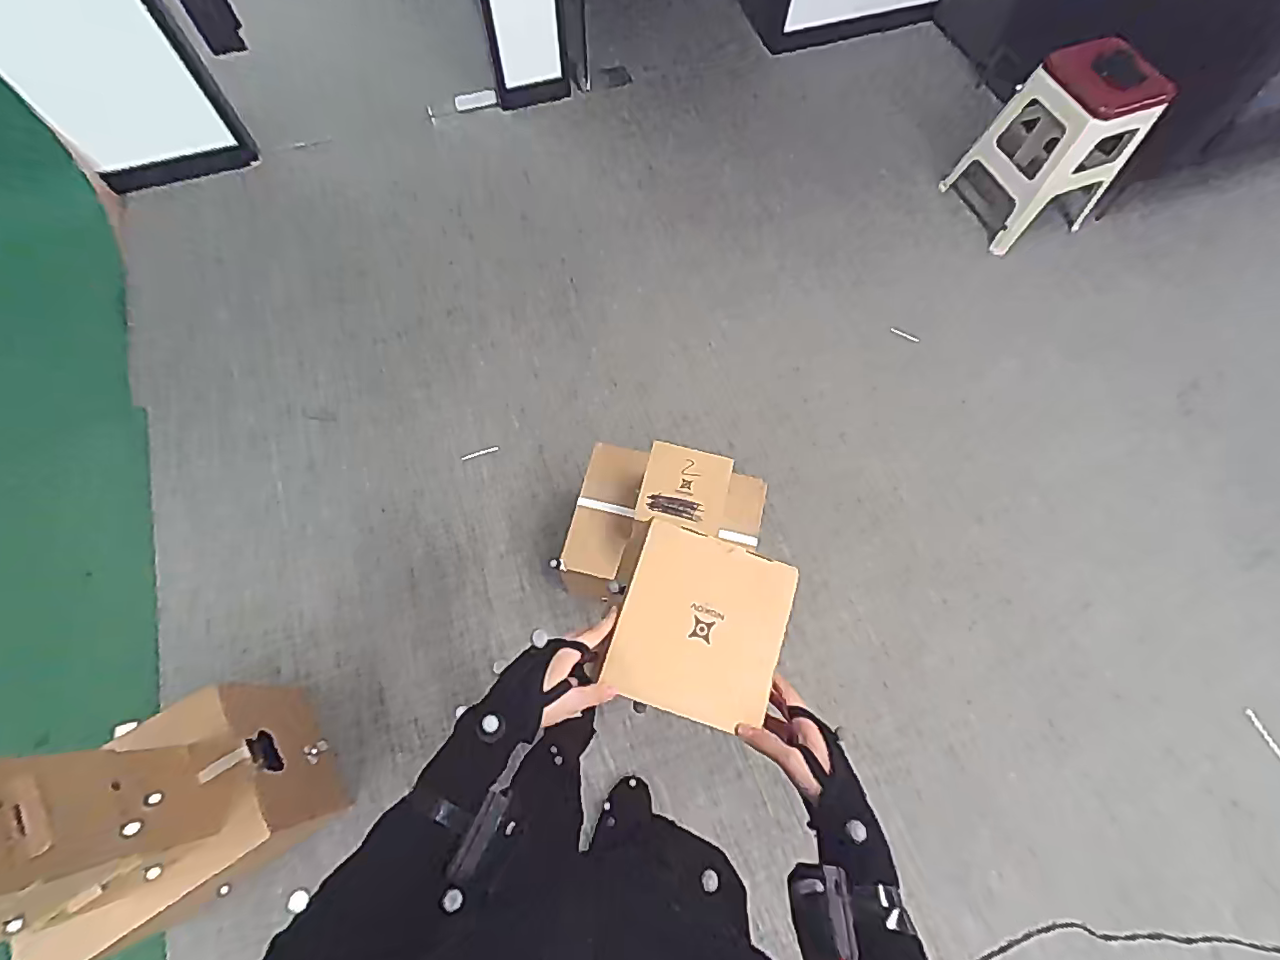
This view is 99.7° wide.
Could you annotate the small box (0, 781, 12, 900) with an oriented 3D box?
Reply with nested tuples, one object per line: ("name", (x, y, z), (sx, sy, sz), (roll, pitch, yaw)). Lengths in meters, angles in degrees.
("small box", (-0.830, 0.426, 0.563), (0.179, 0.176, 0.168), (-31, 71, -16))

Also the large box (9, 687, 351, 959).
("large box", (-0.890, 0.668, 1.080), (0.408, 0.320, 0.320), (-32, 70, -13))

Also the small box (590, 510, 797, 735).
("small box", (0.048, 0.157, 0.606), (0.168, 0.176, 0.179), (21, 72, -3))

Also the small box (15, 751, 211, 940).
("small box", (-0.840, 0.560, 0.863), (0.168, 0.176, 0.179), (-31, 71, -15))

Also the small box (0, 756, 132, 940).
("small box", (-0.833, 0.492, 0.714), (0.179, 0.176, 0.168), (-32, 72, -14))
